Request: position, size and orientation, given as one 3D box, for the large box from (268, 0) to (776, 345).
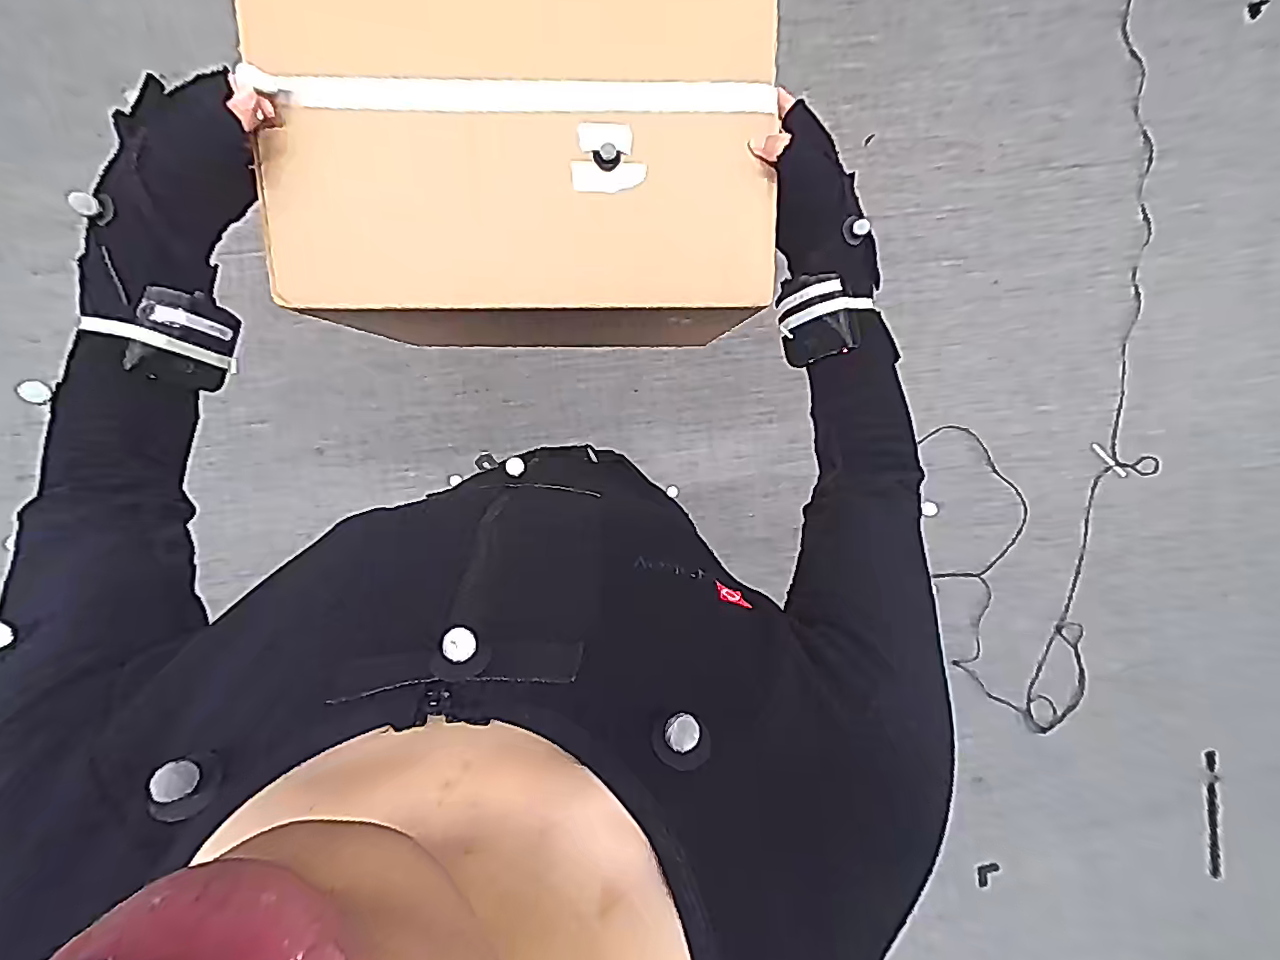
[{"bbox_3d":[-0.098,-0.324,0.582,0.408,0.320,0.320,-1,99,-4],"label":"large box"}]
